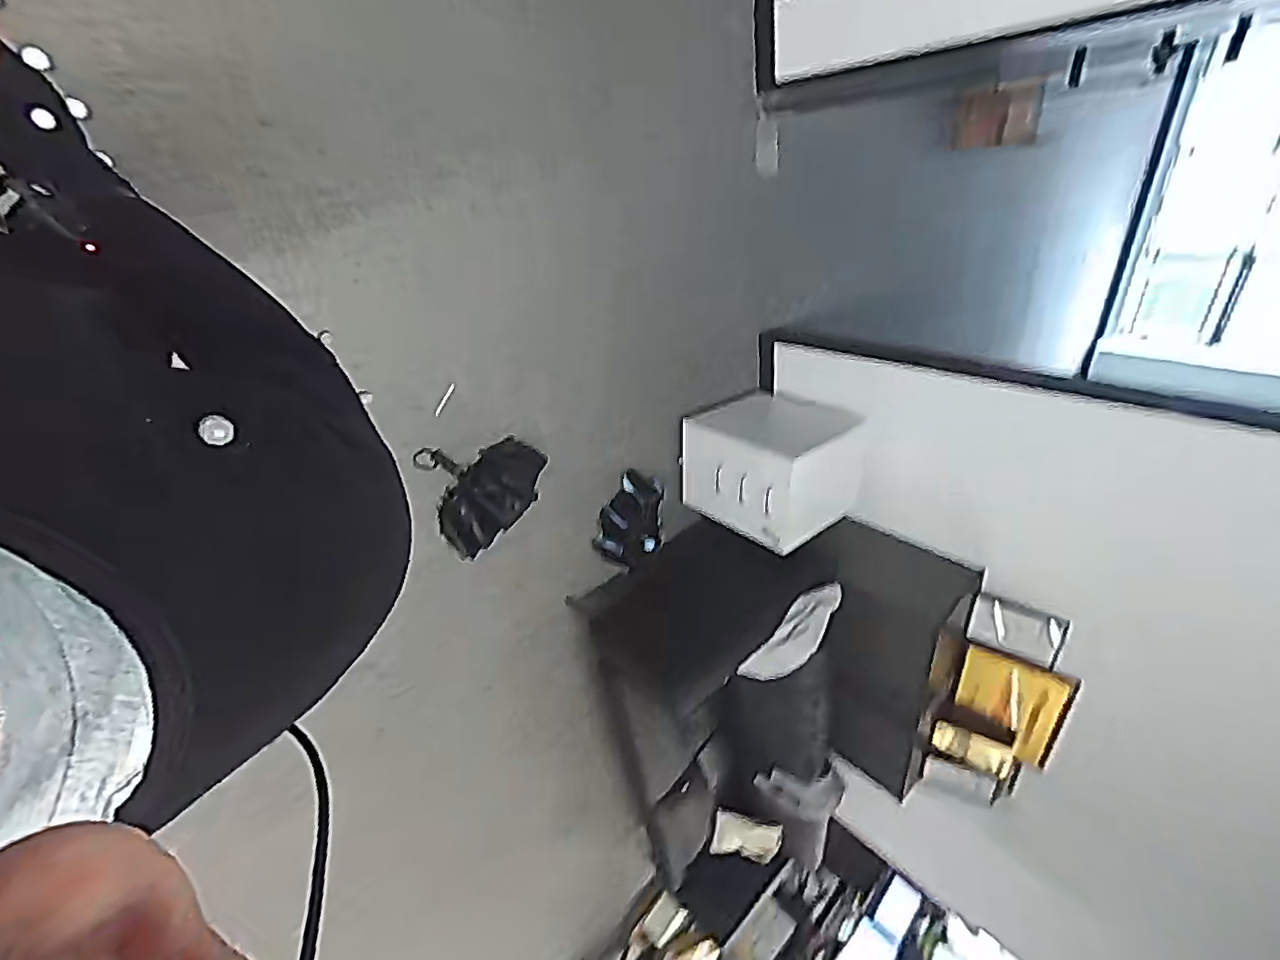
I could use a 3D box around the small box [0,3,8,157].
[{"bbox_3d":[-0.618,-0.387,0.409,0.168,0.176,0.179,-2,88,-43],"label":"small box"}]
